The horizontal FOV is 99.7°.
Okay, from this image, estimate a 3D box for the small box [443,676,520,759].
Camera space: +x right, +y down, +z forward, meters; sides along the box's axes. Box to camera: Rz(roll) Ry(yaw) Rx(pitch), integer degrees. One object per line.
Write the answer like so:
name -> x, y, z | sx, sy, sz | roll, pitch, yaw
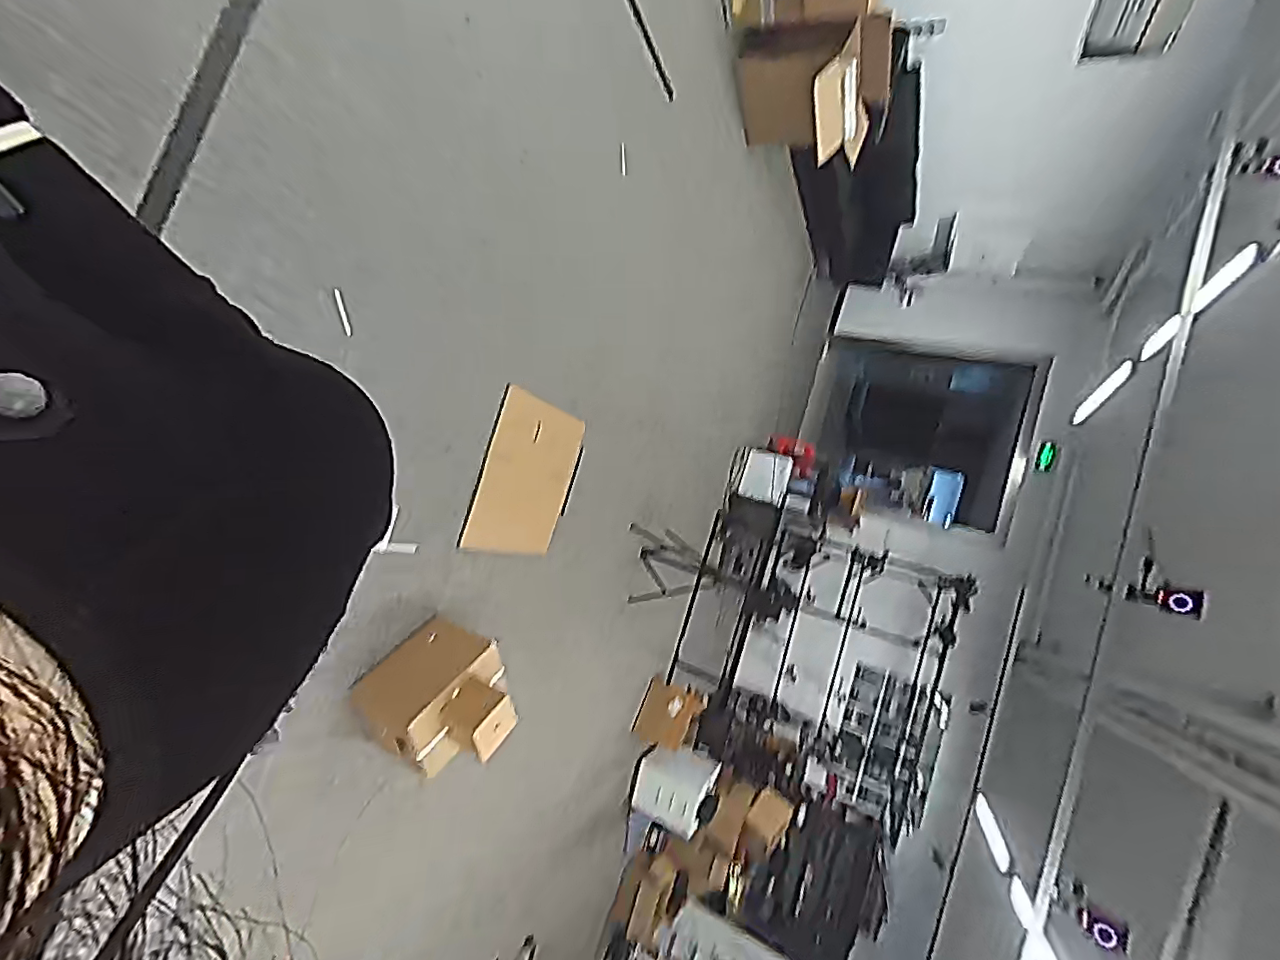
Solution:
small box -> -0.553, 0.825, 1.894 | 0.179, 0.176, 0.168 | -44, 138, -44
